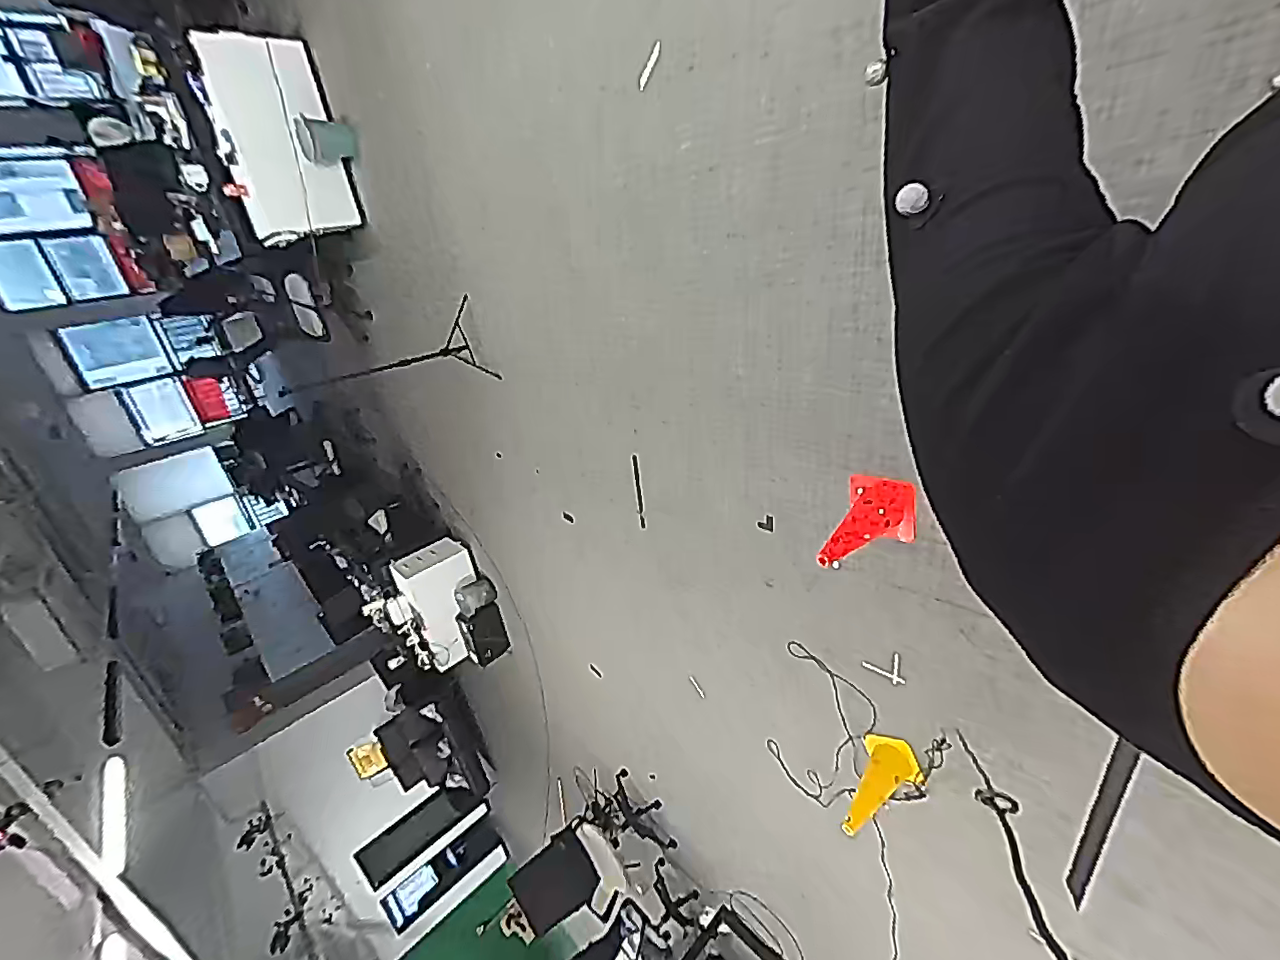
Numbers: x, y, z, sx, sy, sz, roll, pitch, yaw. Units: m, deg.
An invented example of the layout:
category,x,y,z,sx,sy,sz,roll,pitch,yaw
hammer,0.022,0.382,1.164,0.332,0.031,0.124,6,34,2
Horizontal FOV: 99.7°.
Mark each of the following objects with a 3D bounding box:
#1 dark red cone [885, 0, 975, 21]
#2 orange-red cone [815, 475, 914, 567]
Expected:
category,x,y,z,sx,sy,sz,roll,pitch,yaw
dark red cone,0.478,-0.985,0.969,0.201,0.394,0.202,23,129,40
orange-red cone,0.625,0.155,1.577,0.198,0.360,0.199,16,126,46
